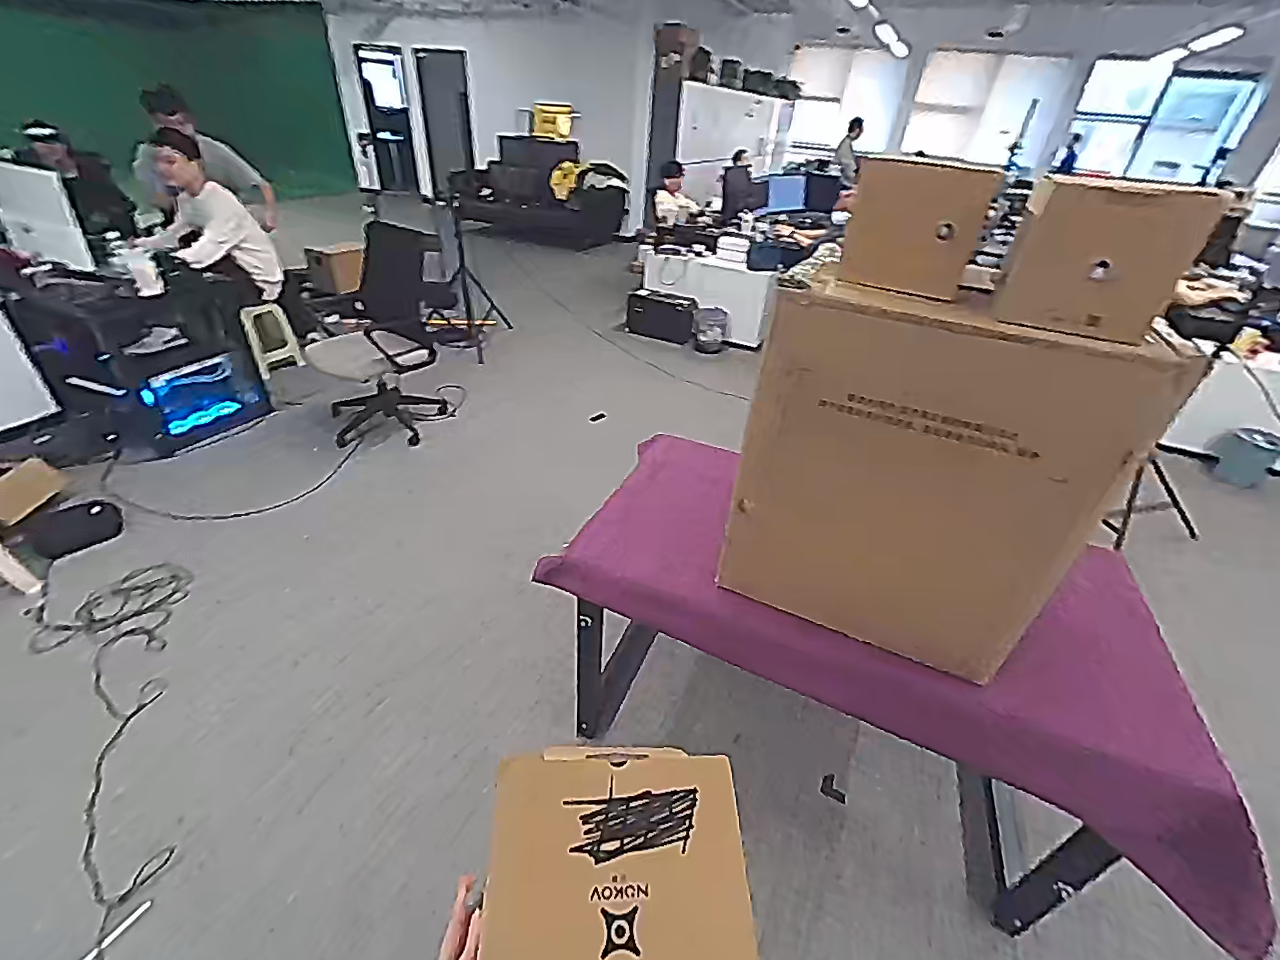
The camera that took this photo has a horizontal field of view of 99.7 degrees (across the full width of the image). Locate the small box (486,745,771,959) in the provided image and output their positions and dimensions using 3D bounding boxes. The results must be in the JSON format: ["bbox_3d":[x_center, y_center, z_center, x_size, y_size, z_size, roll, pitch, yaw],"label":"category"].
[{"bbox_3d":[-0.020,0.306,0.381,0.168,0.176,0.179,5,47,-10],"label":"small box"}]

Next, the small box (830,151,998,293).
[{"bbox_3d":[0.411,-0.395,0.826,0.179,0.176,0.168,18,36,19],"label":"small box"}]

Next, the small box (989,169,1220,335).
[{"bbox_3d":[0.586,-0.304,0.715,0.168,0.176,0.179,18,37,20],"label":"small box"}]
